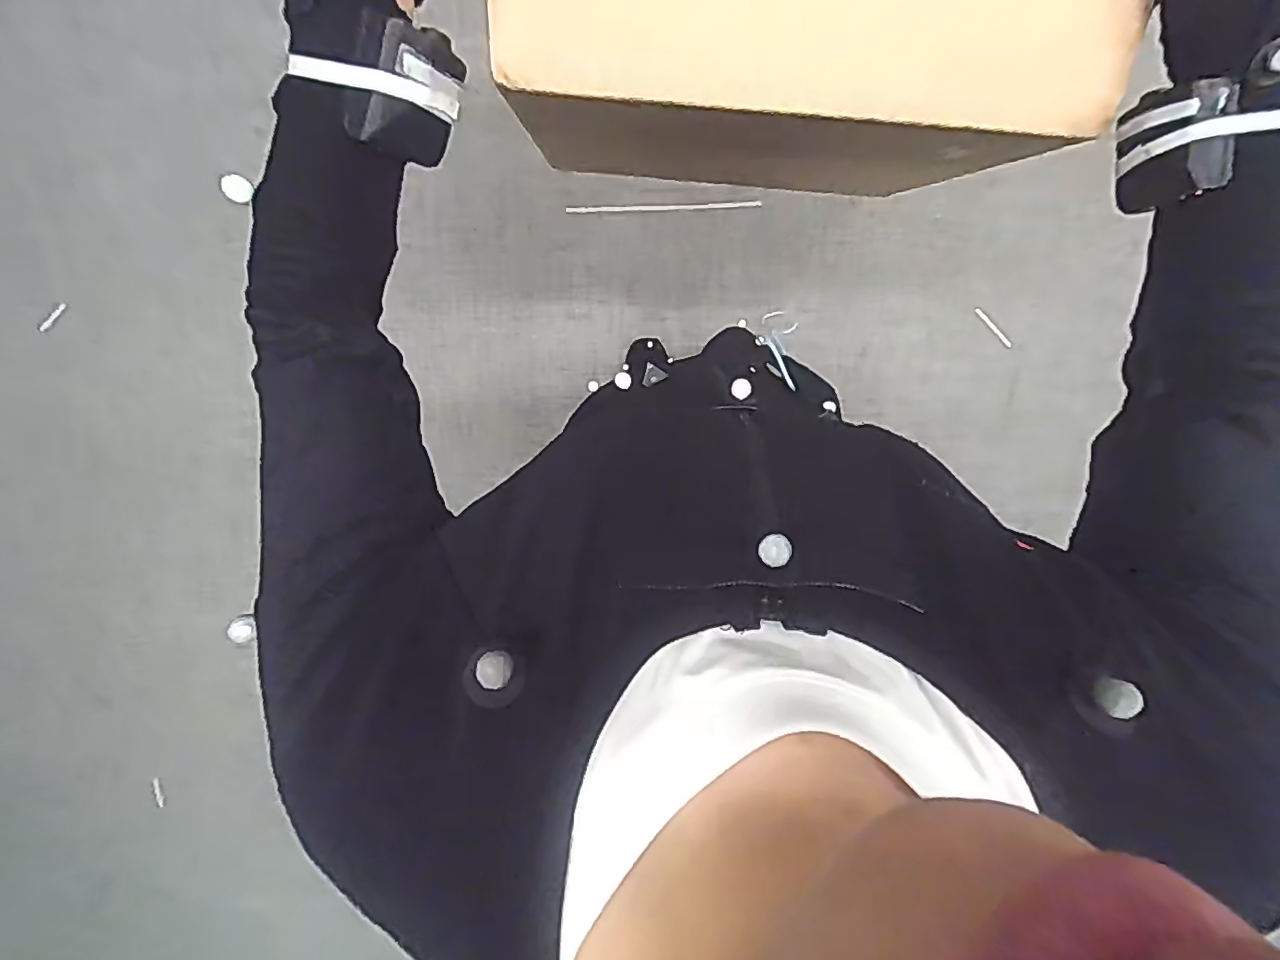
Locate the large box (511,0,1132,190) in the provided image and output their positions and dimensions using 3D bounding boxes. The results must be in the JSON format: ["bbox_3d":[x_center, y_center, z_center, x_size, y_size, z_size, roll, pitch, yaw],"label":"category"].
[{"bbox_3d":[0.113,-0.442,0.446,0.408,0.320,0.320,2,111,-4],"label":"large box"}]
